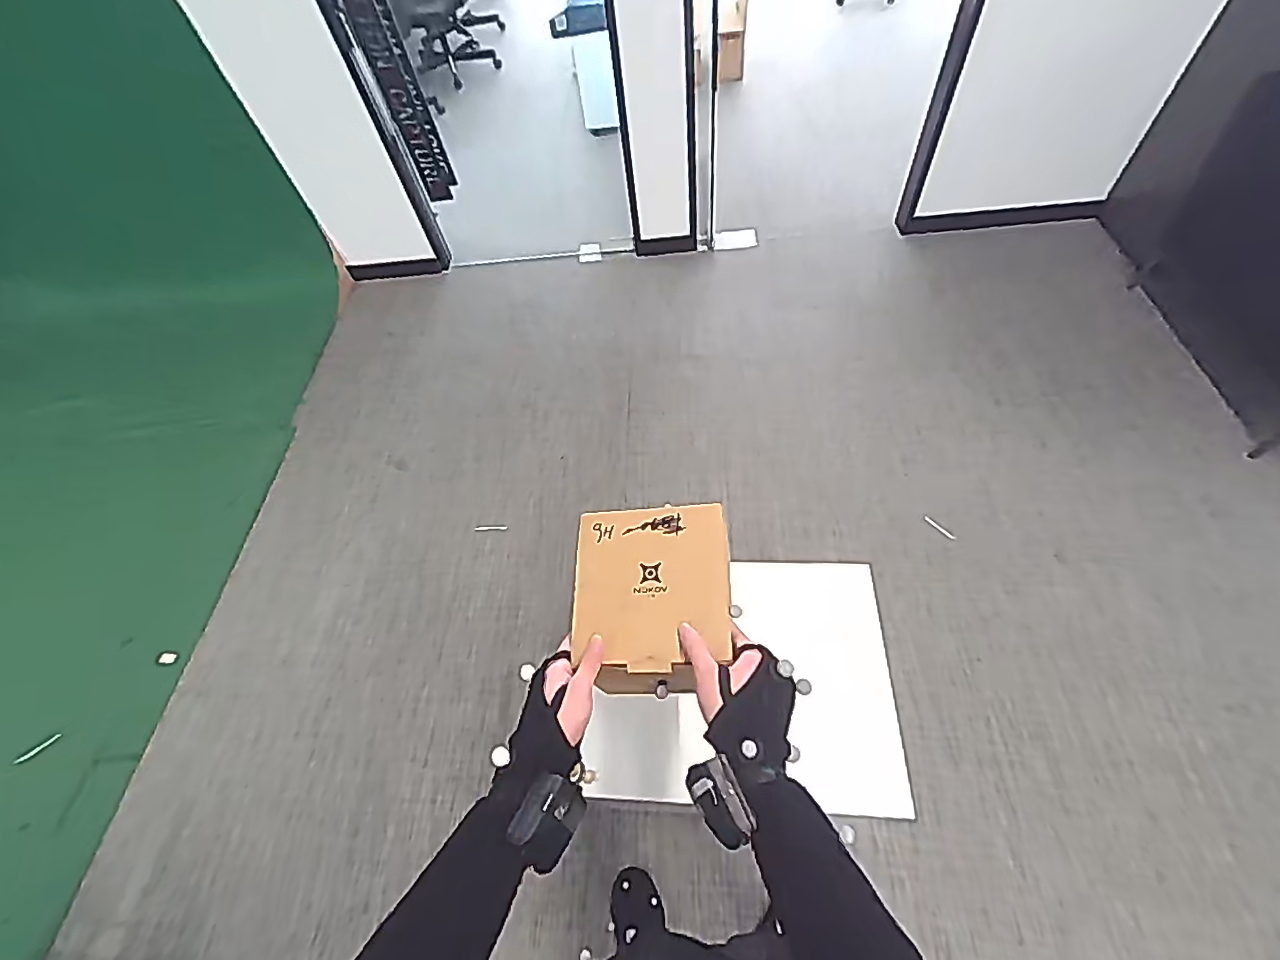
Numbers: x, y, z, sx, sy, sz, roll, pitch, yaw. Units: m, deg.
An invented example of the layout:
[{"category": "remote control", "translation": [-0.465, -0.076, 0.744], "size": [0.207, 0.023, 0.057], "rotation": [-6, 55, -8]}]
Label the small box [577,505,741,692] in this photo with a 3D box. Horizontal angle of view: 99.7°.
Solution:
[{"category": "small box", "translation": [0.029, 0.152, 0.649], "size": [0.168, 0.176, 0.179], "rotation": [-7, 58, 8]}]
